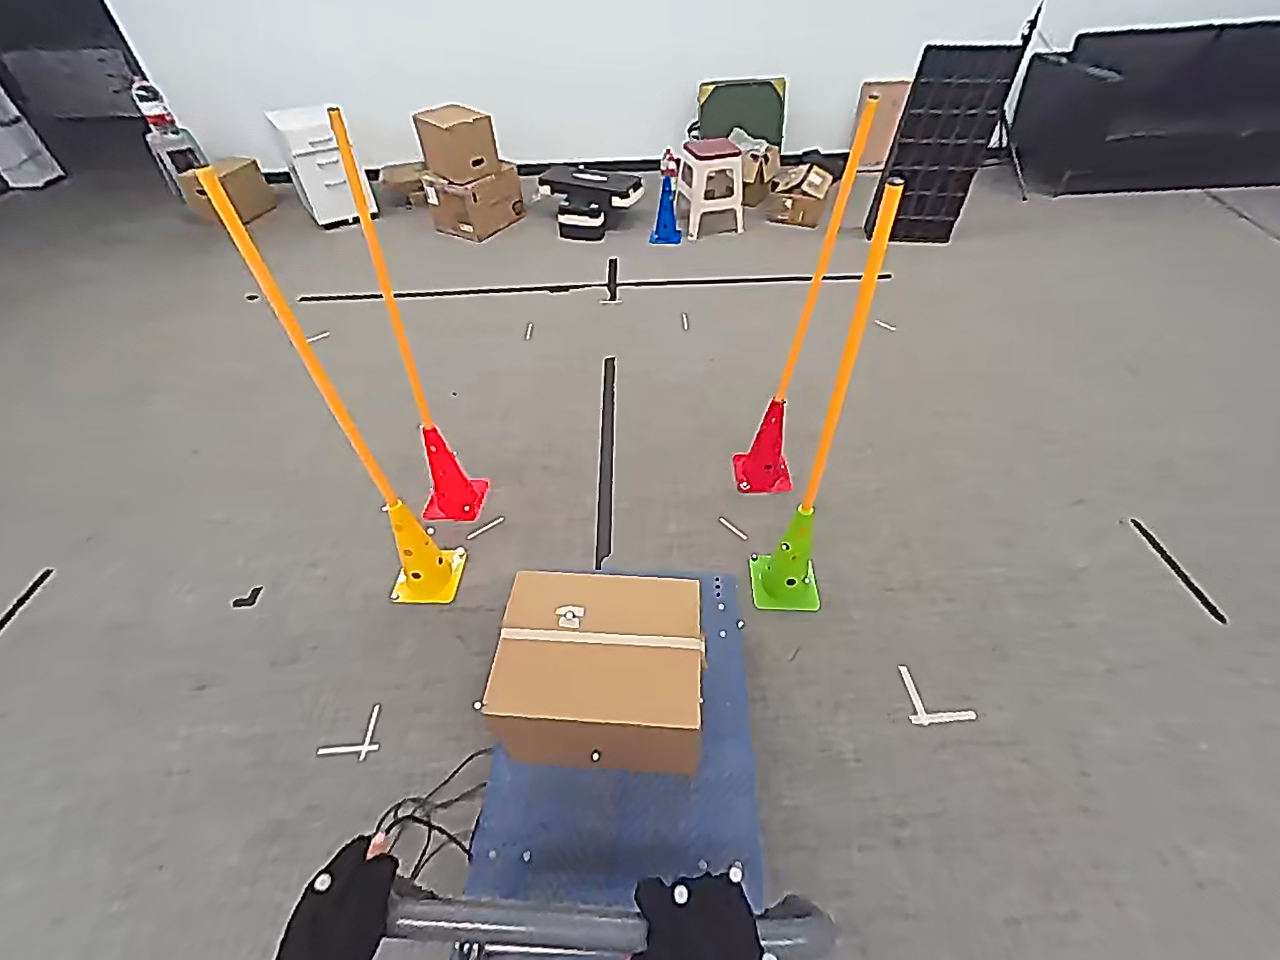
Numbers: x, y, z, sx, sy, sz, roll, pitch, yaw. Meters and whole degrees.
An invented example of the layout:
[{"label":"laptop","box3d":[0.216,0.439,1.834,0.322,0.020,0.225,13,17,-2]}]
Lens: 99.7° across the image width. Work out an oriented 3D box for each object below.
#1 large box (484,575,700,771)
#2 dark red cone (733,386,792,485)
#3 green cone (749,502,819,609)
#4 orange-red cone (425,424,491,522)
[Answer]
[{"label":"large box","box3d":[-0.076,0.428,1.193,0.408,0.320,0.320,2,47,5]},{"label":"dark red cone","box3d":[0.461,-0.163,1.913,0.201,0.394,0.202,-1,47,-2]},{"label":"green cone","box3d":[0.454,0.201,1.592,0.202,0.368,0.200,2,47,2]},{"label":"orange-red cone","box3d":[-0.666,-0.047,1.862,0.198,0.360,0.199,4,45,4]}]
